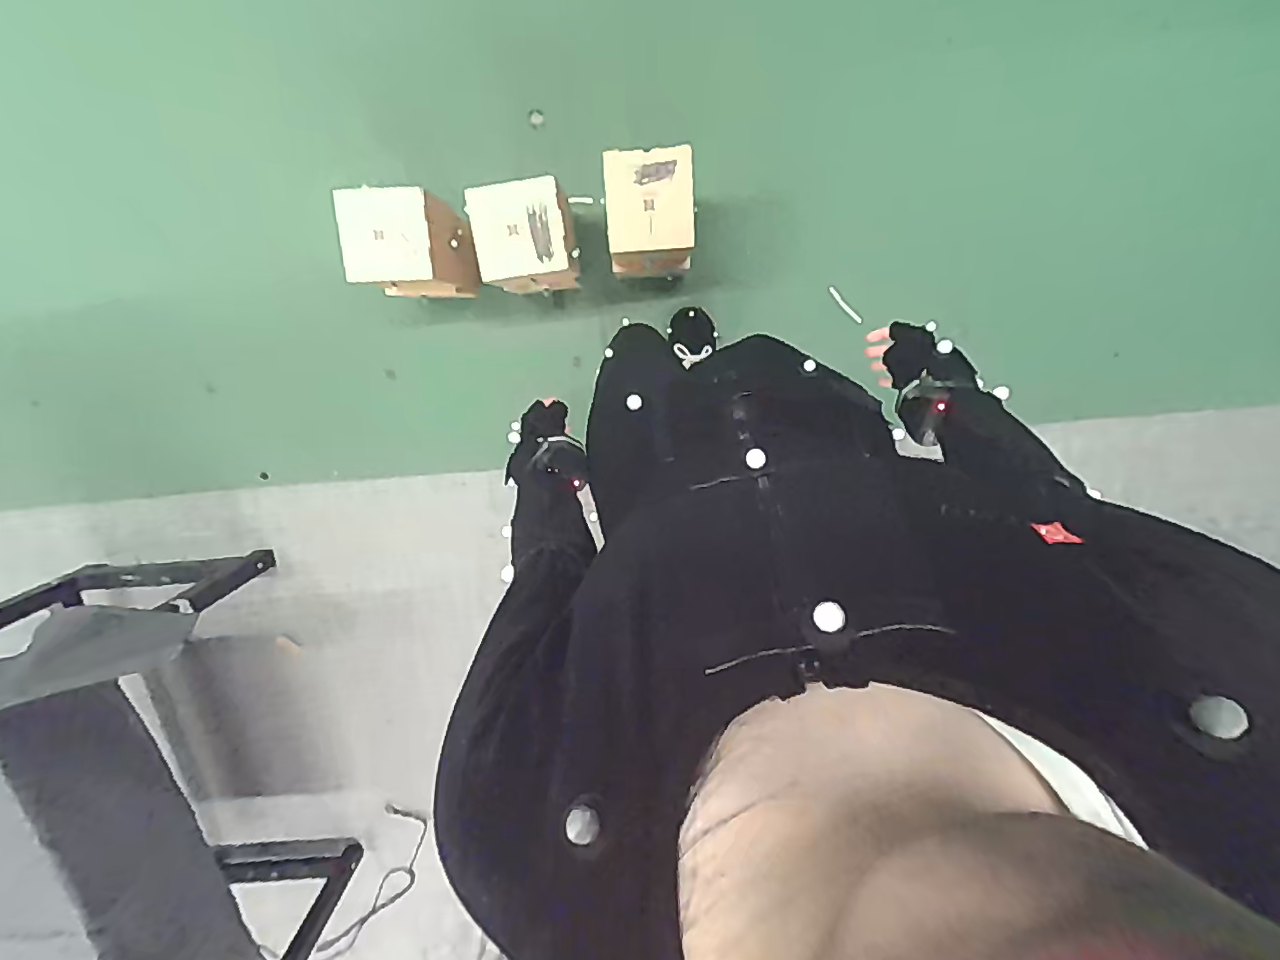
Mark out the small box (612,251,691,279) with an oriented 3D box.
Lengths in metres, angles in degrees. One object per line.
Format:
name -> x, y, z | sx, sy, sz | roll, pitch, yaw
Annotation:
small box -> 0.024, -0.562, 1.247 | 0.179, 0.176, 0.168 | -1, 105, 1

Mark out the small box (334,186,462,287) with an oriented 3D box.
small box -> -0.486, -0.490, 1.109 | 0.179, 0.176, 0.168 | 0, 105, 2

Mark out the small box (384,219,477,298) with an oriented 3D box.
small box -> -0.491, -0.523, 1.271 | 0.168, 0.176, 0.179 | 1, 105, 2

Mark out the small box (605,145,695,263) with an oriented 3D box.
small box -> 0.019, -0.543, 1.084 | 0.168, 0.176, 0.179 | -3, 105, 2
